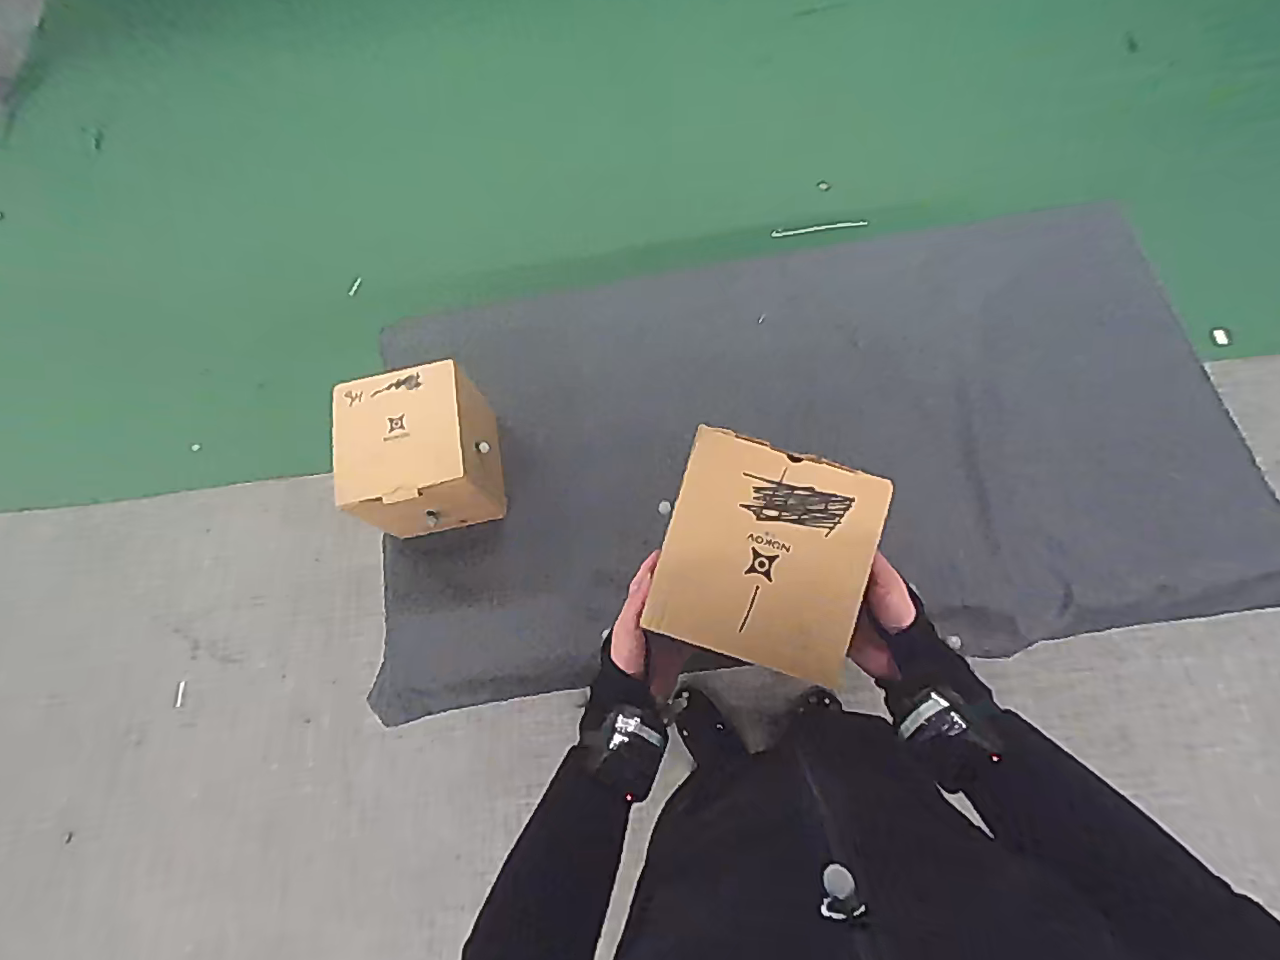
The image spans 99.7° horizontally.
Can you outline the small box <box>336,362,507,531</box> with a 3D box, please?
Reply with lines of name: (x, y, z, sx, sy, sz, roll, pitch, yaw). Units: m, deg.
small box: (-0.297, -0.035, 0.760, 0.168, 0.176, 0.179, -13, 71, 1)
